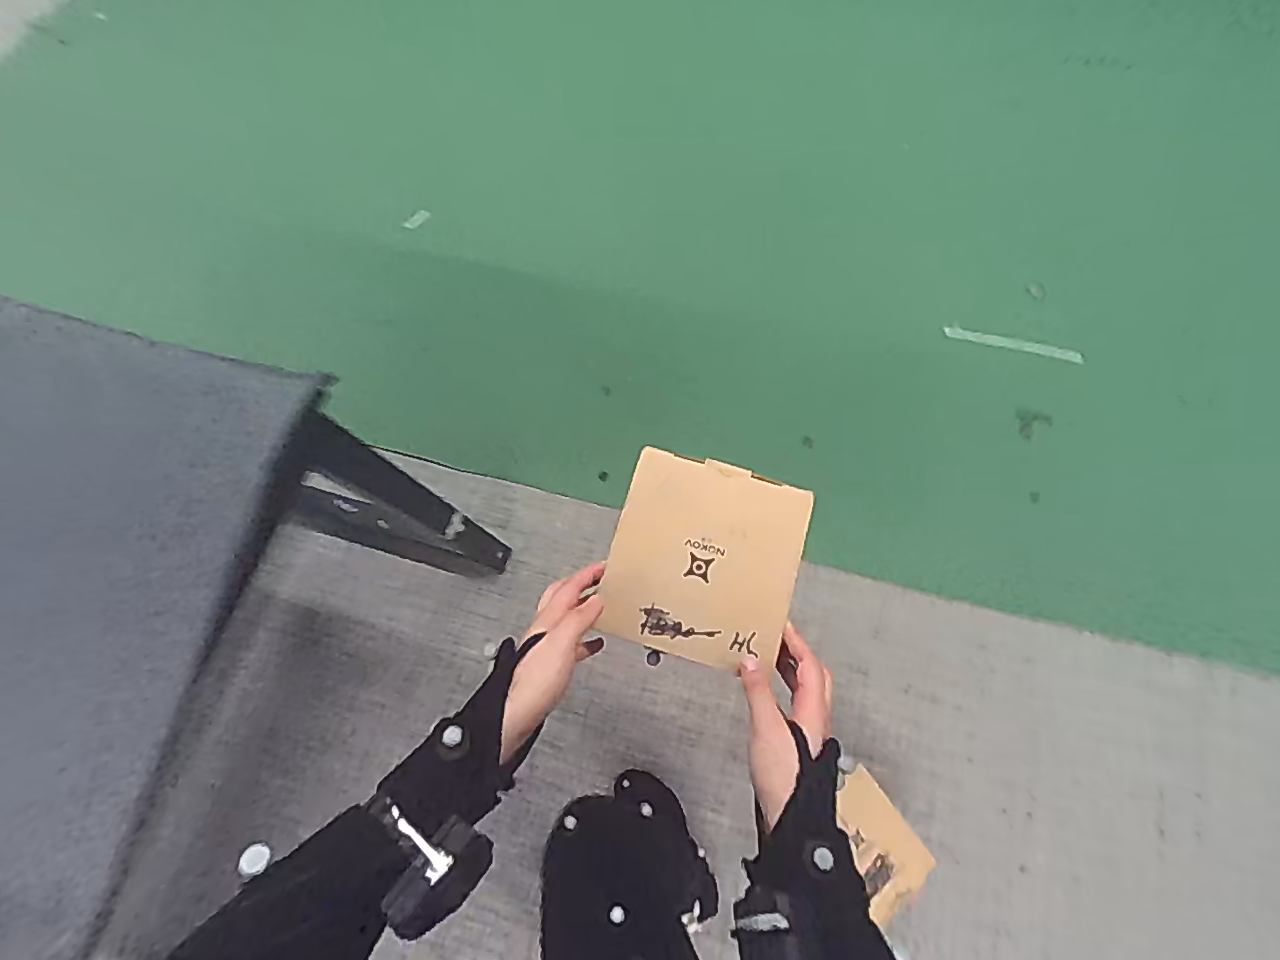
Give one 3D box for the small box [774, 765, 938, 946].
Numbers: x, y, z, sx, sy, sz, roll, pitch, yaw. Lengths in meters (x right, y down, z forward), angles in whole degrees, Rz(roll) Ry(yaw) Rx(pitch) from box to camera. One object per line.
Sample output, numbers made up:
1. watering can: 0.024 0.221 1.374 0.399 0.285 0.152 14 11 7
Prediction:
1. small box: 0.356 0.623 0.926 0.168 0.176 0.179 -34 71 -9
